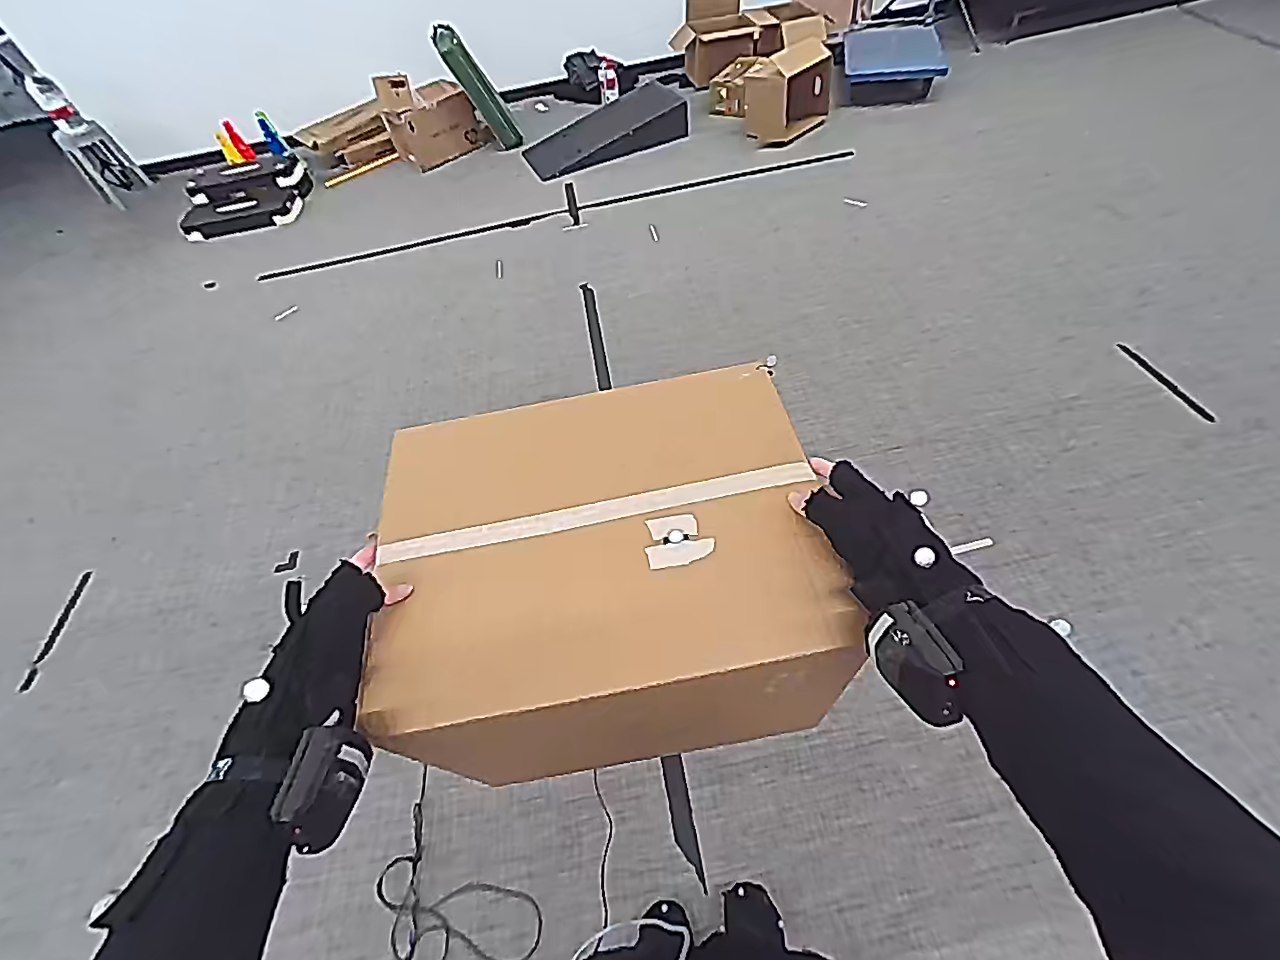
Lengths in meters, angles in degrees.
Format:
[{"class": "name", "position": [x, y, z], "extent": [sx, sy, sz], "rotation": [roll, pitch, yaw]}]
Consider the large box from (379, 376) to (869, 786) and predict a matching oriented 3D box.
[{"class": "large box", "position": [-0.023, 0.127, 0.629], "extent": [0.408, 0.320, 0.320], "rotation": [-11, 55, -1]}]
